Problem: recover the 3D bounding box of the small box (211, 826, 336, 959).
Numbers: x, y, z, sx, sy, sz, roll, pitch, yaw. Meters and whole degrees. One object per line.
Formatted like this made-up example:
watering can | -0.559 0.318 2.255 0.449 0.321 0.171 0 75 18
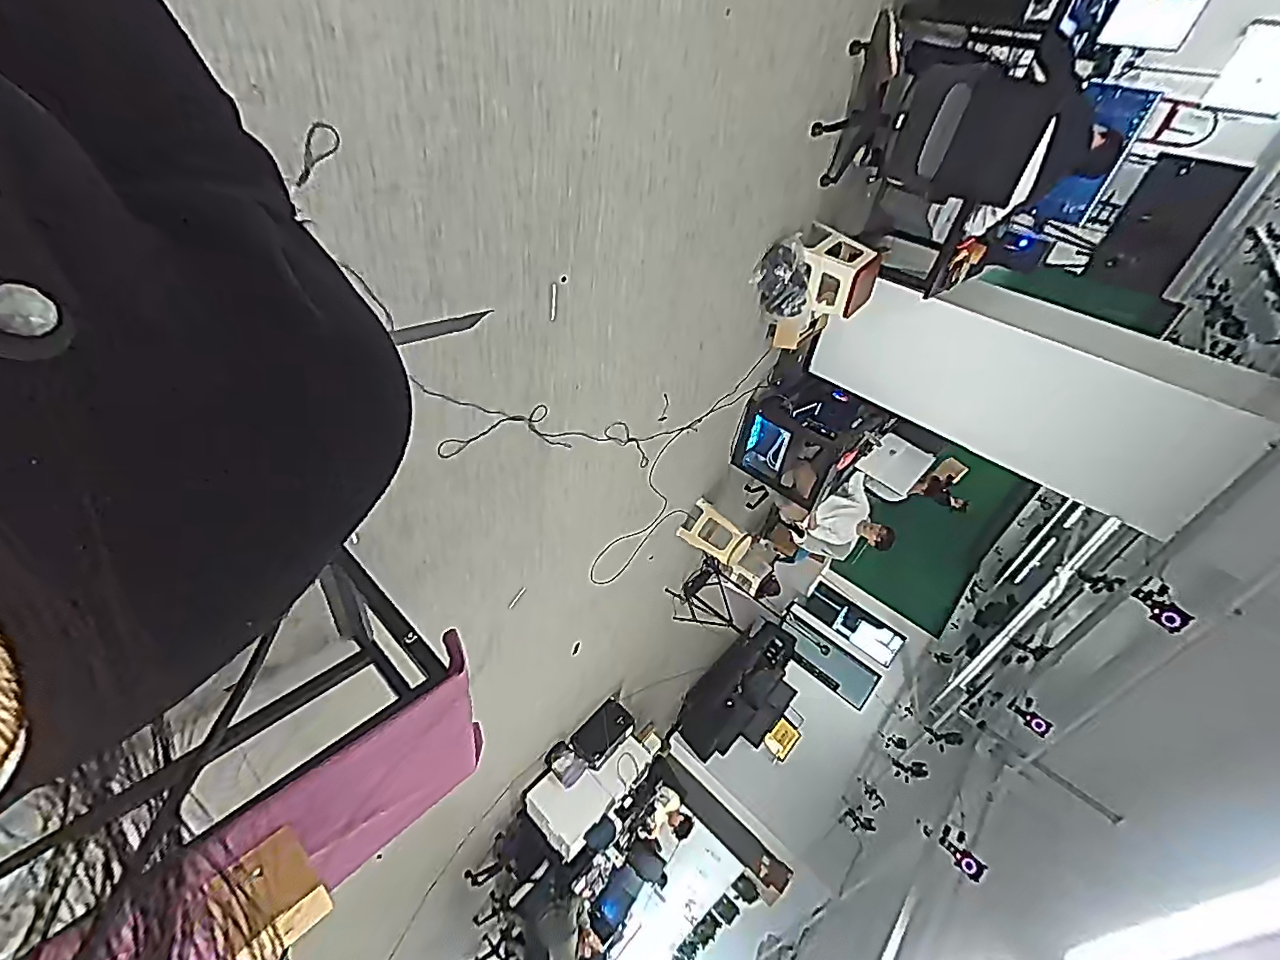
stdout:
small box | -0.814 0.923 1.208 0.168 0.176 0.179 -30 144 -42
